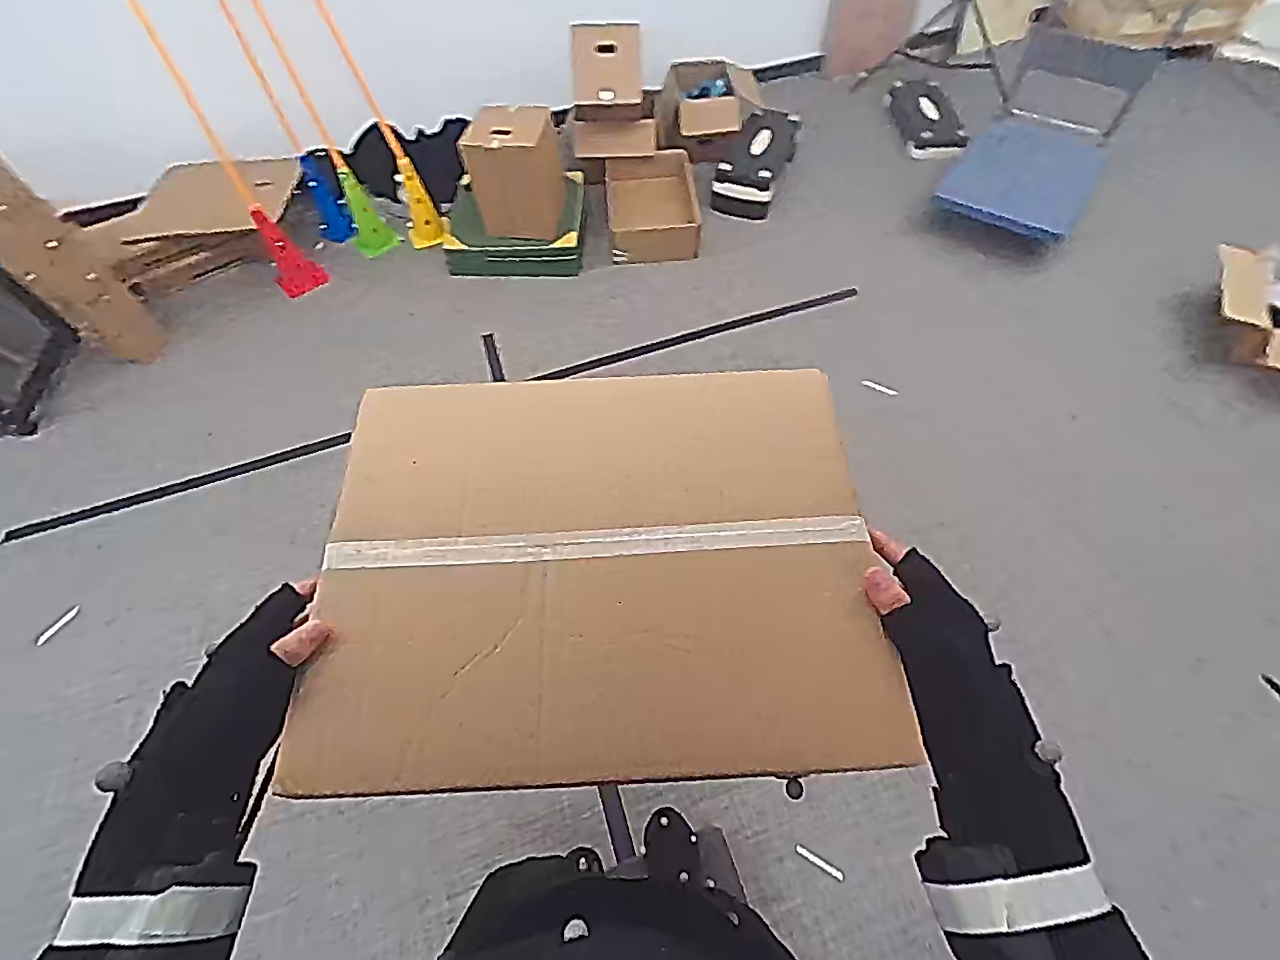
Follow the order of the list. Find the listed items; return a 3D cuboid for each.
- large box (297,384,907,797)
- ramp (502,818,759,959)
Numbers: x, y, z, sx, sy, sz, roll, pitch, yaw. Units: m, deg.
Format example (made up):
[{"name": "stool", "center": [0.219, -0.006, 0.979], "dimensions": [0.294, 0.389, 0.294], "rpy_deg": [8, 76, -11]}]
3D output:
[{"name": "large box", "center": [-0.027, 0.124, 0.547], "dimensions": [0.408, 0.320, 0.320], "rpy_deg": [-2, 62, -1]}, {"name": "ramp", "center": [0.096, 1.274, 1.028], "dimensions": [0.509, 0.206, 0.991], "rpy_deg": [-18, 60, -11]}]
